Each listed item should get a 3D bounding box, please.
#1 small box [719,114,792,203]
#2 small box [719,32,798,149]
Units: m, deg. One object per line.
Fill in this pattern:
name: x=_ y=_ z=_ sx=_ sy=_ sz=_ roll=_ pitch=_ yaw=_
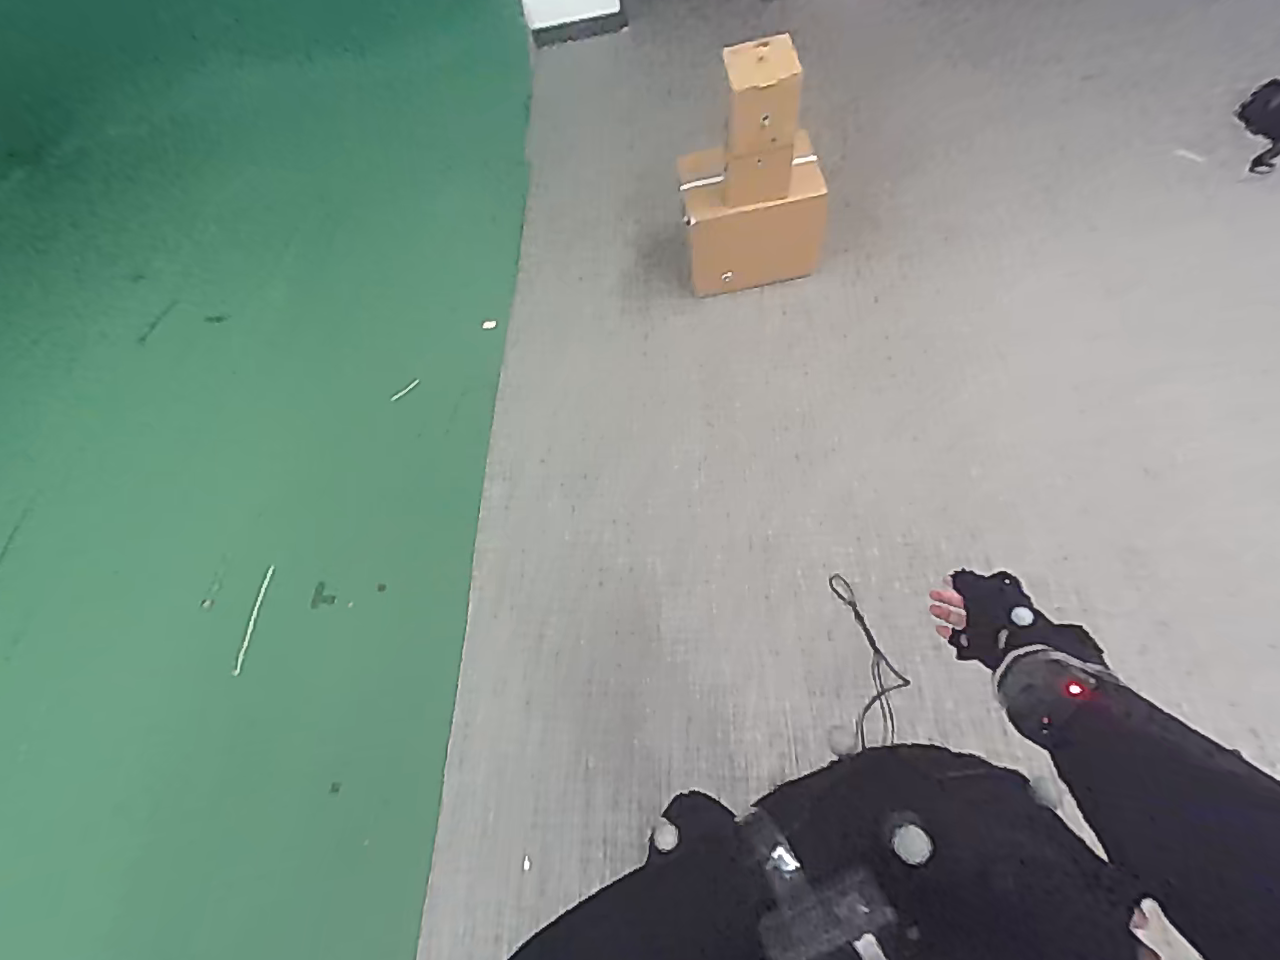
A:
small box: x=0.319 y=-0.908 z=1.515 sx=0.179 sy=0.176 sz=0.168 roll=-6 pitch=66 yaw=6
small box: x=0.296 y=-0.971 z=1.366 sx=0.168 sy=0.176 sz=0.179 roll=-9 pitch=66 yaw=6
